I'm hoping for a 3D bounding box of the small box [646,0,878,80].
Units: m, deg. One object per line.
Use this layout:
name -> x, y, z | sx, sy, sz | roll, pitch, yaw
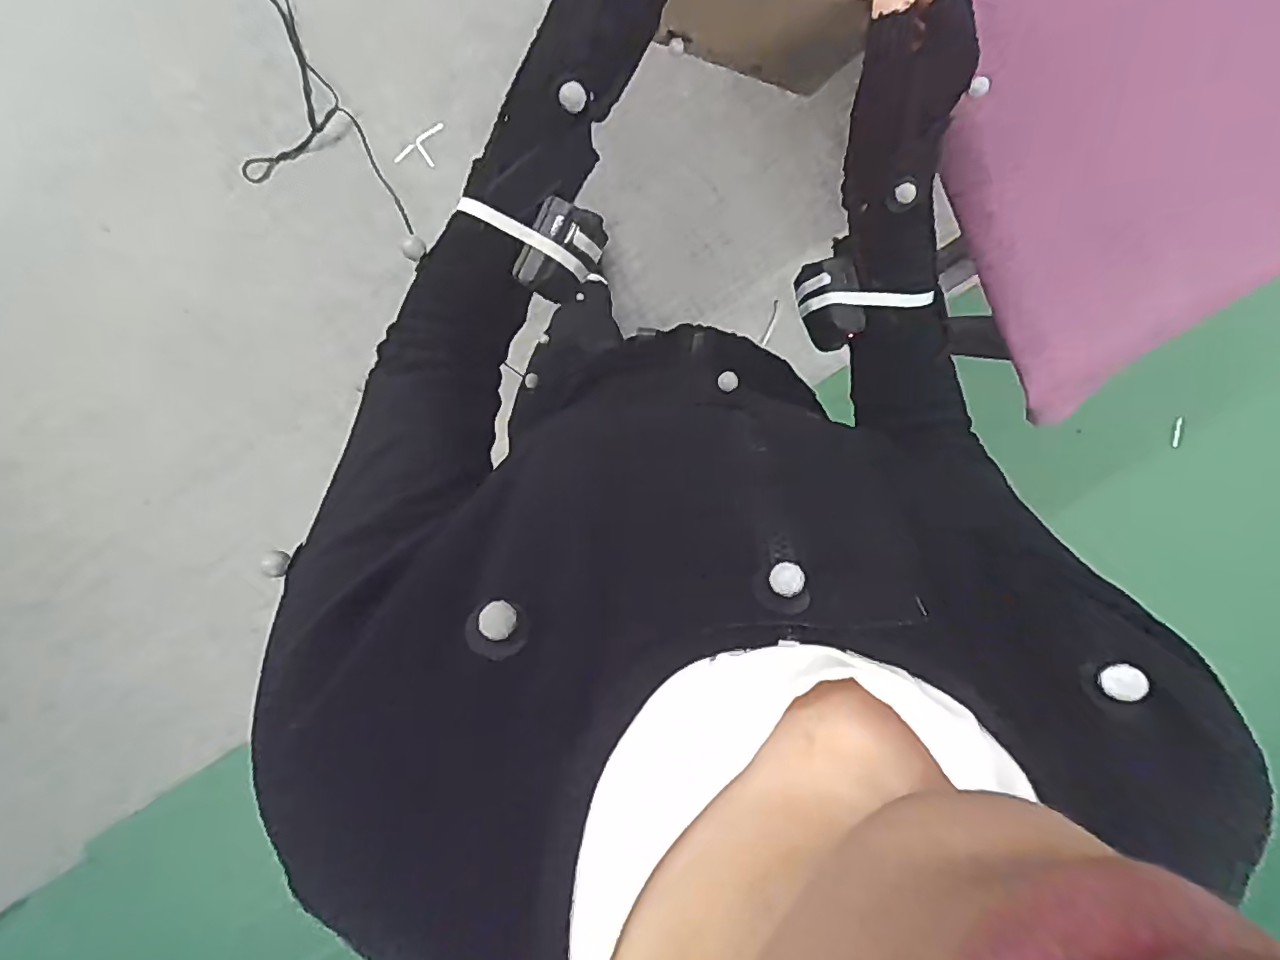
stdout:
small box -> 0.103, -0.428, 0.381 | 0.168, 0.176, 0.179 | 13, 106, -10
